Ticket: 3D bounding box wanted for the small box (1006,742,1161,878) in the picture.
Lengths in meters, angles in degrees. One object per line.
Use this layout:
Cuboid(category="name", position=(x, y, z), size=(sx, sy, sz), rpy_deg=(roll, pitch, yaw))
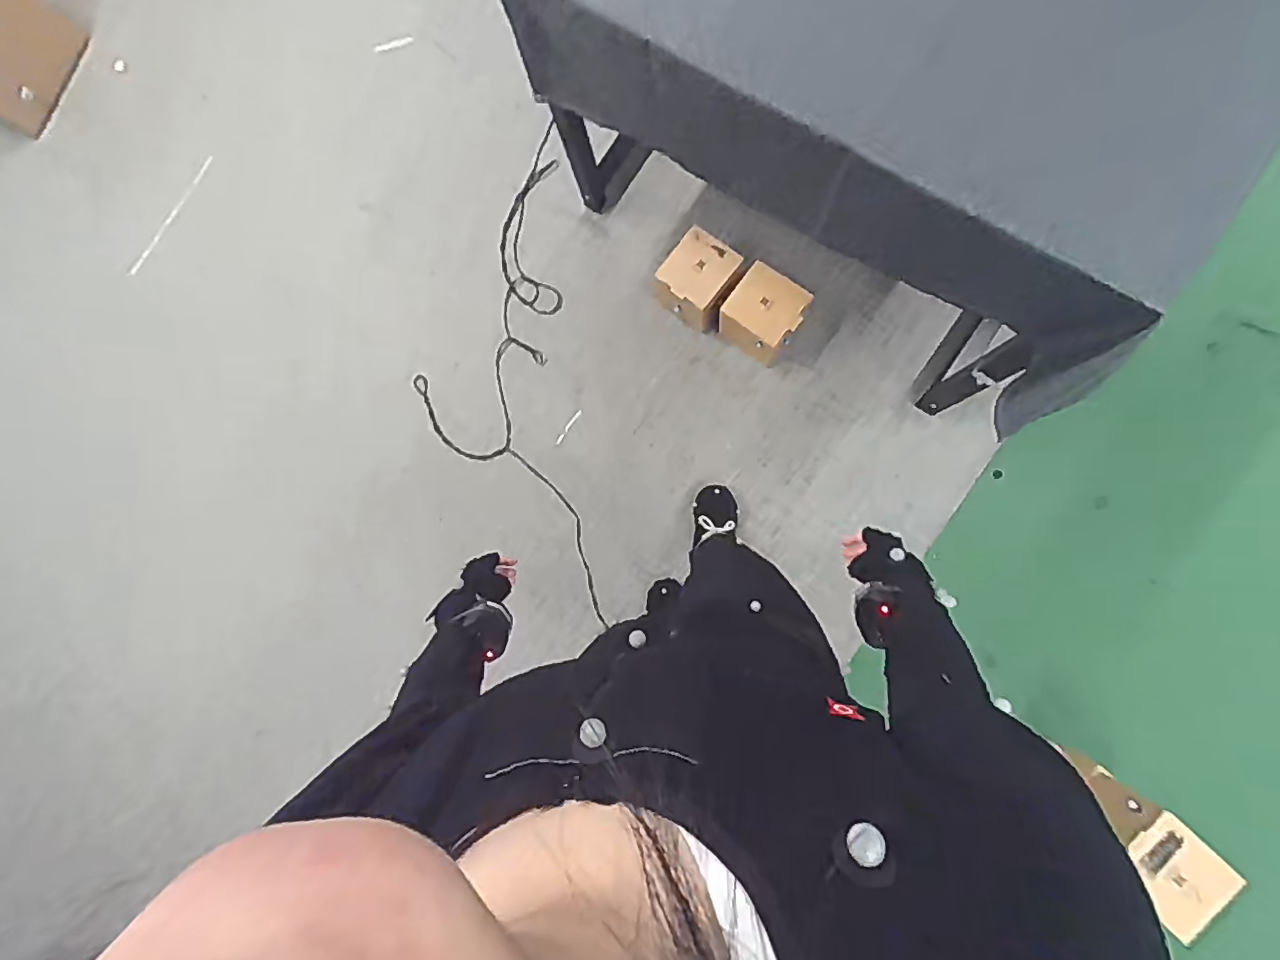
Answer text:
Cuboid(category="small box", position=(1.010, 0.748, 1.249), size=(0.168, 0.176, 0.179), rpy_deg=(-45, 81, -1))
